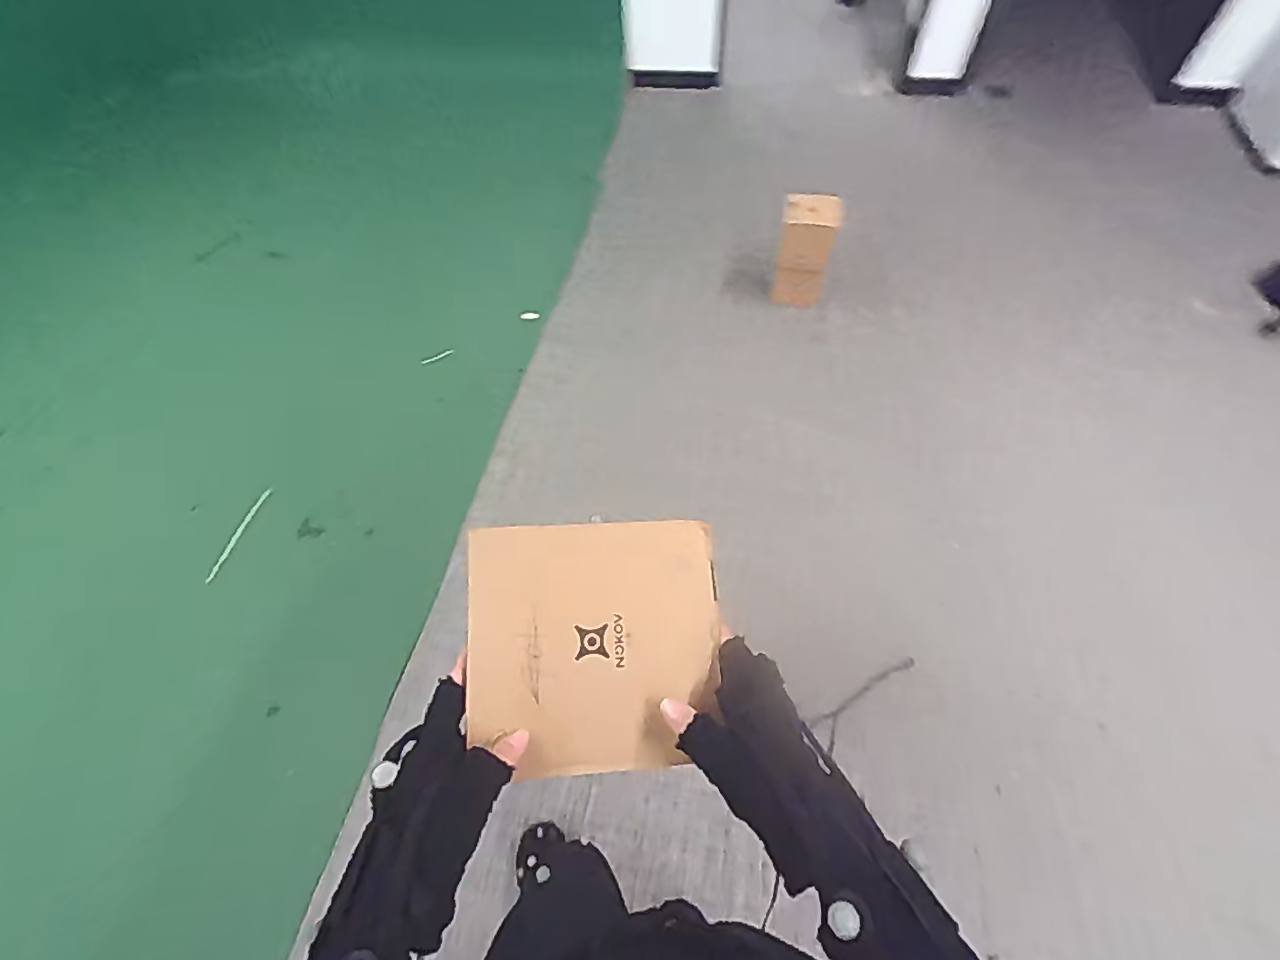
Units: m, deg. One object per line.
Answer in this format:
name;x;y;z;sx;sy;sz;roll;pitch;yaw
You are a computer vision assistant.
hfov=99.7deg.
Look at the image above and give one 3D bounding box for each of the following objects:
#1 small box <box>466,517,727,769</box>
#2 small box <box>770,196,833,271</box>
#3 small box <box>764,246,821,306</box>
small box;-0.038;0.128;0.454;0.179;0.176;0.168;-2;74;-6
small box;0.545;-0.831;1.833;0.179;0.176;0.168;6;60;8
small box;0.556;-0.757;1.976;0.179;0.176;0.168;7;59;9
